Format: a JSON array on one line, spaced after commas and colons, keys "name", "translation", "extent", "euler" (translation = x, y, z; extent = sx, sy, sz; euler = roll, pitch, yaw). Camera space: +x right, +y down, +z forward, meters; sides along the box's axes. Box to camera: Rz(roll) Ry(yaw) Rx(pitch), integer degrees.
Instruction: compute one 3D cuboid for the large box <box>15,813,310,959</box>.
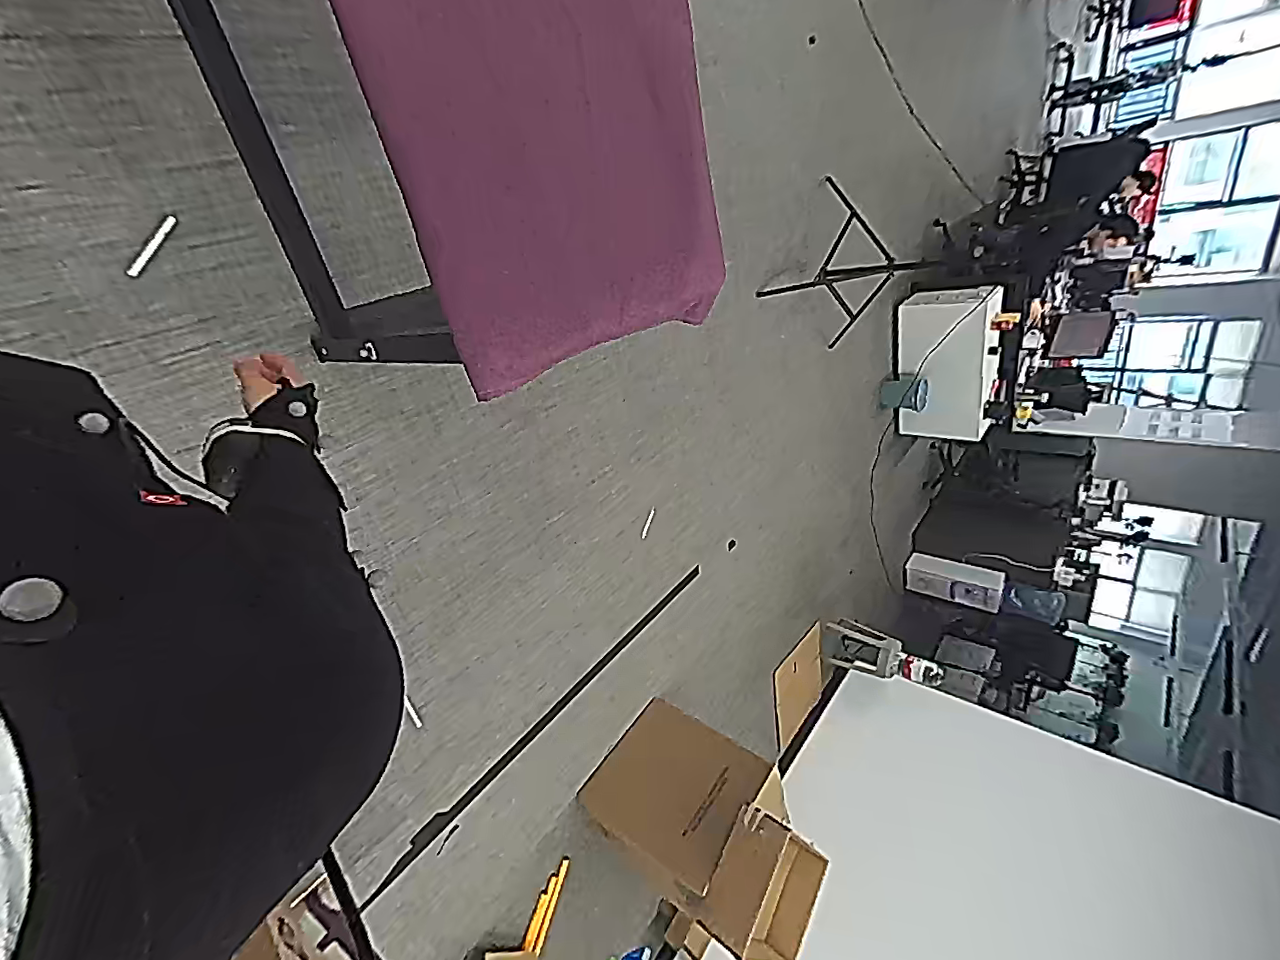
[{"name": "large box", "translation": [-0.948, 1.004, 1.111], "extent": [0.320, 0.320, 0.408], "euler": [-36, 124, -37]}]
